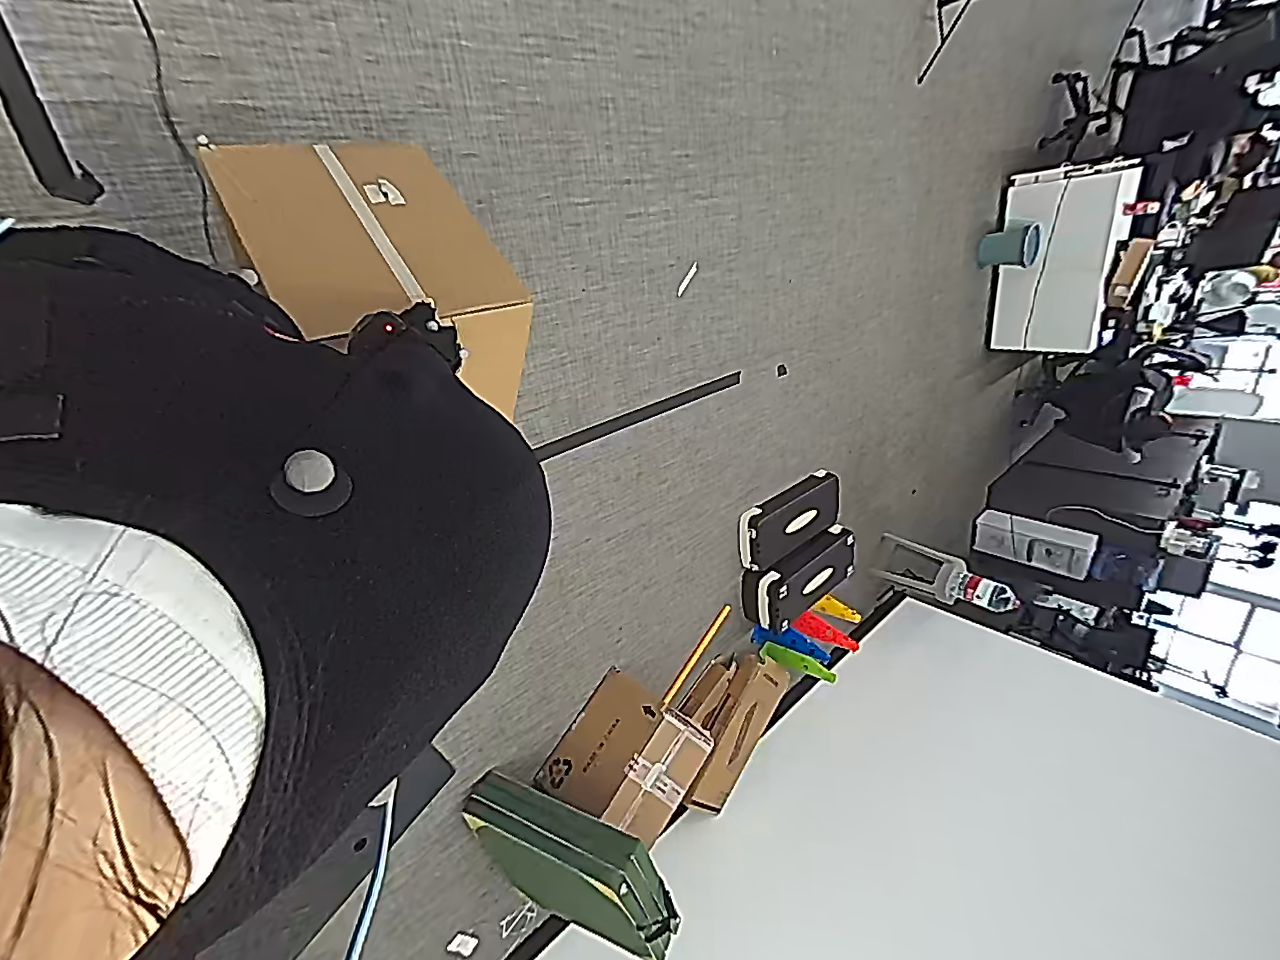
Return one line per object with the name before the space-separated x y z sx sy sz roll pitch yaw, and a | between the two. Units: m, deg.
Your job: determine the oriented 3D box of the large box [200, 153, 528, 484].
large box | -0.433 -0.271 0.894 0.320 0.408 0.320 -24 157 -33
